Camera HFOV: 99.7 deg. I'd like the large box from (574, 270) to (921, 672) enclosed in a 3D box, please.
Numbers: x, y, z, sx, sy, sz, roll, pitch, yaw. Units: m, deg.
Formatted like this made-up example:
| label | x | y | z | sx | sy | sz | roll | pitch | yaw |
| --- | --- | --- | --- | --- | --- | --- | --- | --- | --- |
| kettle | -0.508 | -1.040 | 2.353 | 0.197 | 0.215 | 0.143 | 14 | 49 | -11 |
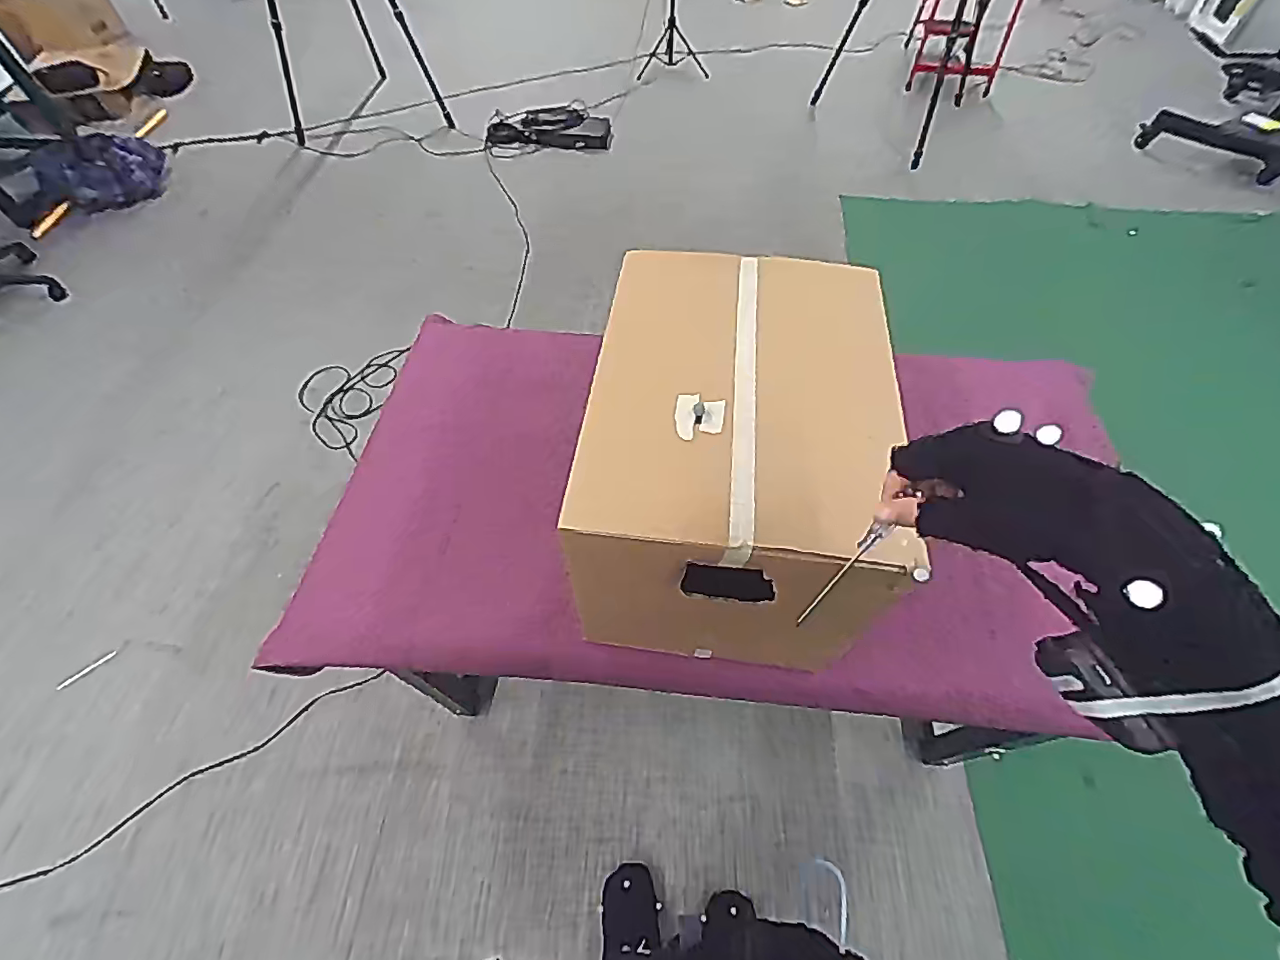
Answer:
| label | x | y | z | sx | sy | sz | roll | pitch | yaw |
| --- | --- | --- | --- | --- | --- | --- | --- | --- | --- |
| large box | 0.113 | -0.008 | 0.704 | 0.320 | 0.320 | 0.408 | 6 | 57 | 5 |
